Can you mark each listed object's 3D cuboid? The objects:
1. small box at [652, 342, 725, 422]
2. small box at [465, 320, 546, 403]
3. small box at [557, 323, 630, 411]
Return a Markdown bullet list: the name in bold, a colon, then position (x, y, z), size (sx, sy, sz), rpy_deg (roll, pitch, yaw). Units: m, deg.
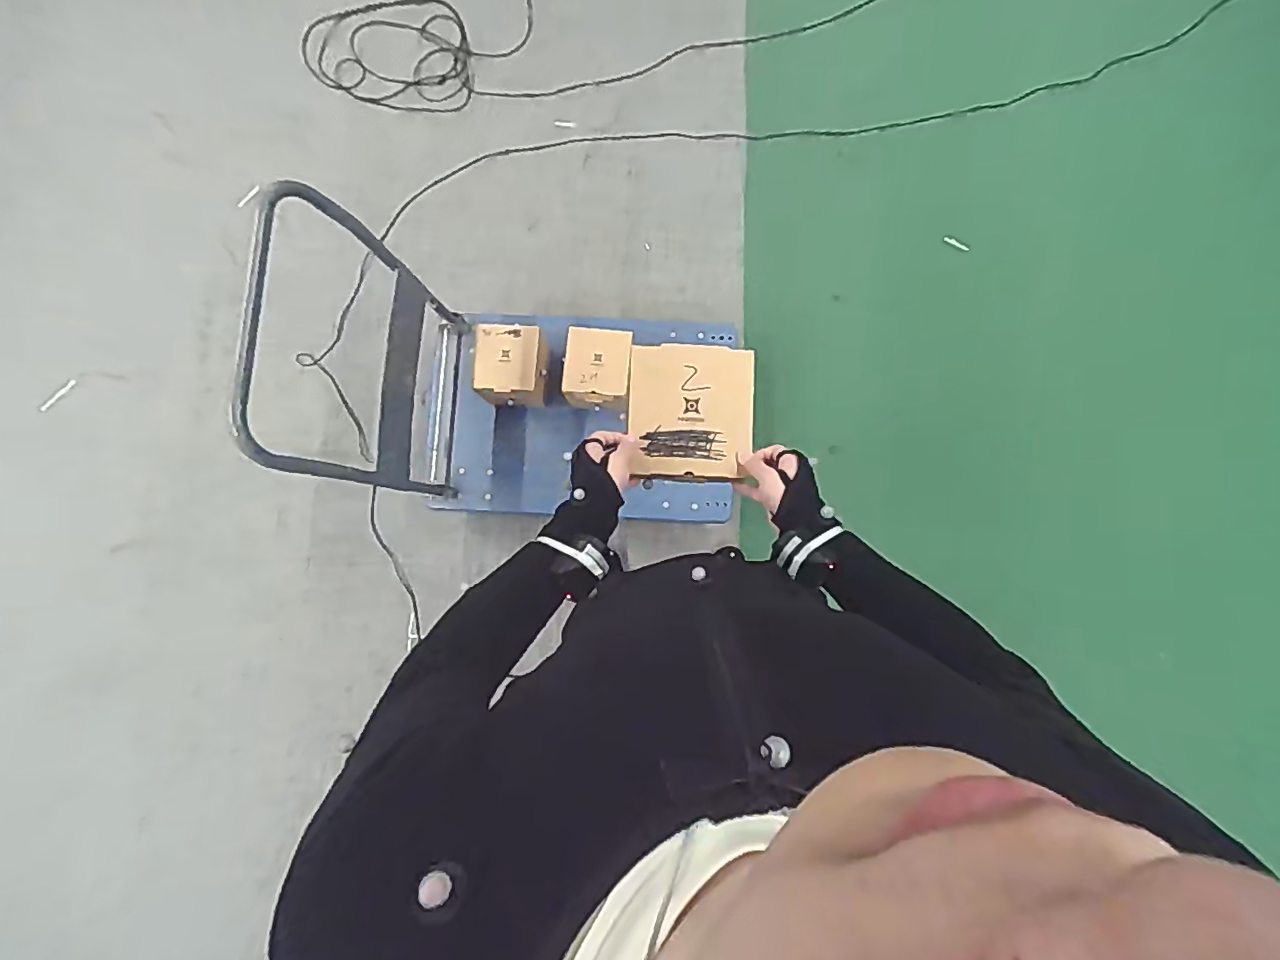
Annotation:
- **small box**: position (0.124, -0.255, 1.435), size (0.179, 0.176, 0.168), rpy_deg (4, 84, 2)
- **small box**: position (-0.354, -0.310, 1.446), size (0.168, 0.176, 0.179), rpy_deg (4, 84, 1)
- **small box**: position (-0.118, -0.296, 1.442), size (0.168, 0.176, 0.179), rpy_deg (6, 84, 2)
